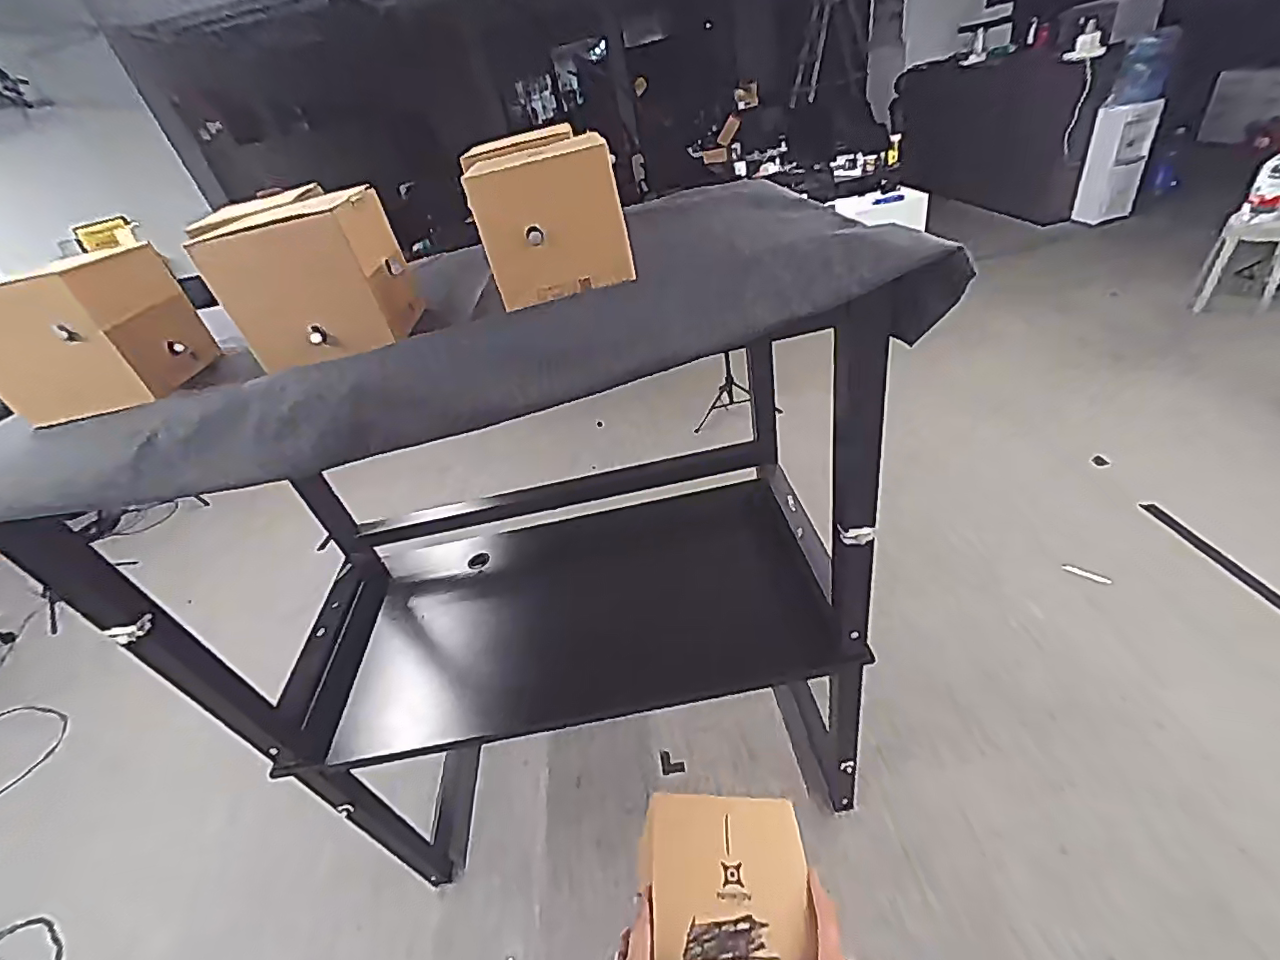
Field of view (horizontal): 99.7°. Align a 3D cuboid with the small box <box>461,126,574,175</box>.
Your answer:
[{"bbox_3d":[-0.180,-0.488,0.931,0.179,0.176,0.168,-12,37,3],"label":"small box"}]

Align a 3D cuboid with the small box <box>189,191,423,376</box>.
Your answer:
[{"bbox_3d":[-0.411,-0.258,0.708,0.179,0.176,0.168,-13,36,1],"label":"small box"}]

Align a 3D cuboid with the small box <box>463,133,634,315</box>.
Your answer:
[{"bbox_3d":[-0.110,-0.328,0.701,0.168,0.176,0.179,-14,36,1],"label":"small box"}]

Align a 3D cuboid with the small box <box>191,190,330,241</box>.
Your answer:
[{"bbox_3d":[-0.600,-0.380,0.931,0.168,0.176,0.179,-17,37,-2],"label":"small box"}]

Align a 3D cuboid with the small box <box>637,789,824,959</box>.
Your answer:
[{"bbox_3d":[0.086,0.474,0.594,0.168,0.176,0.179,4,34,-2],"label":"small box"}]
